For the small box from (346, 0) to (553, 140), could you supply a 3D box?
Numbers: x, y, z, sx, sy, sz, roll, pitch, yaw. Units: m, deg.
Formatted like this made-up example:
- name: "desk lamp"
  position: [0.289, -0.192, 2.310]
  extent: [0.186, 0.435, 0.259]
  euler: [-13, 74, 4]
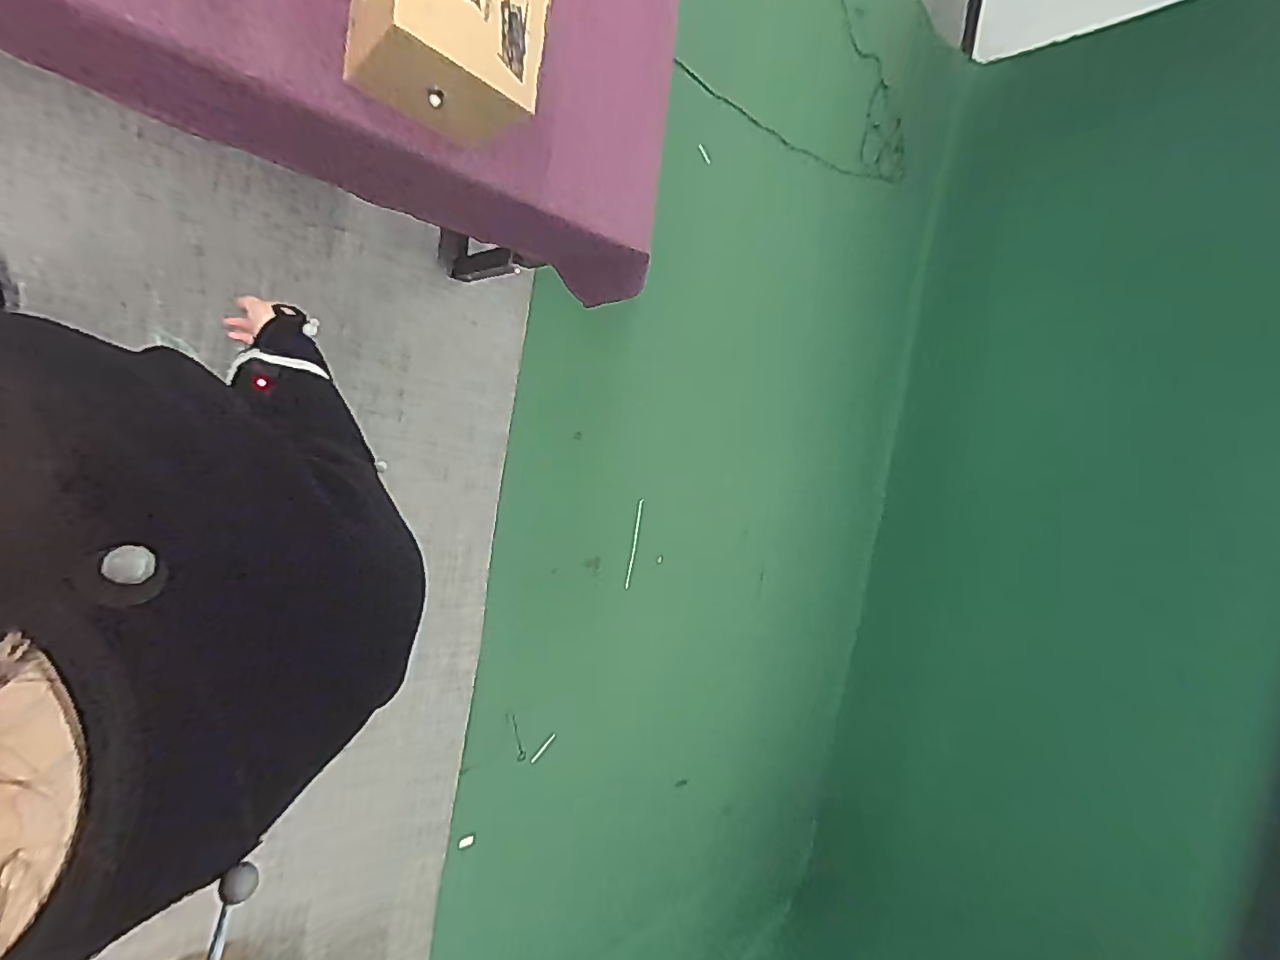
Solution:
- name: "small box"
  position: [-0.233, -0.551, 0.662]
  extent: [0.179, 0.176, 0.168]
  euler: [5, 95, -44]
